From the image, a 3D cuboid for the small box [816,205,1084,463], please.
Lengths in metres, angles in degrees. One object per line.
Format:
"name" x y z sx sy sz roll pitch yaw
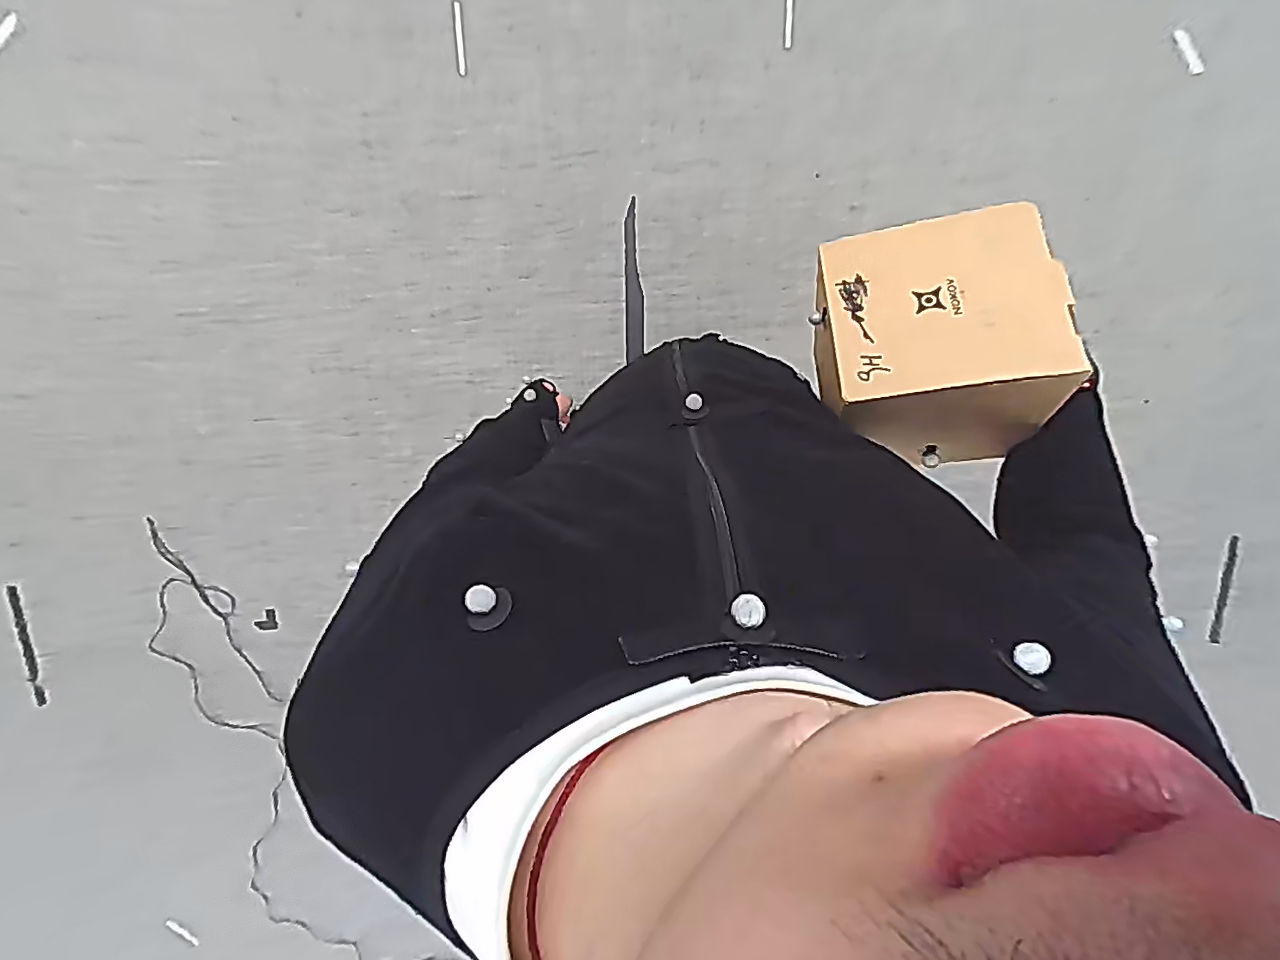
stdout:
"small box" 0.275 -0.127 0.530 0.179 0.176 0.168 -6 68 14
